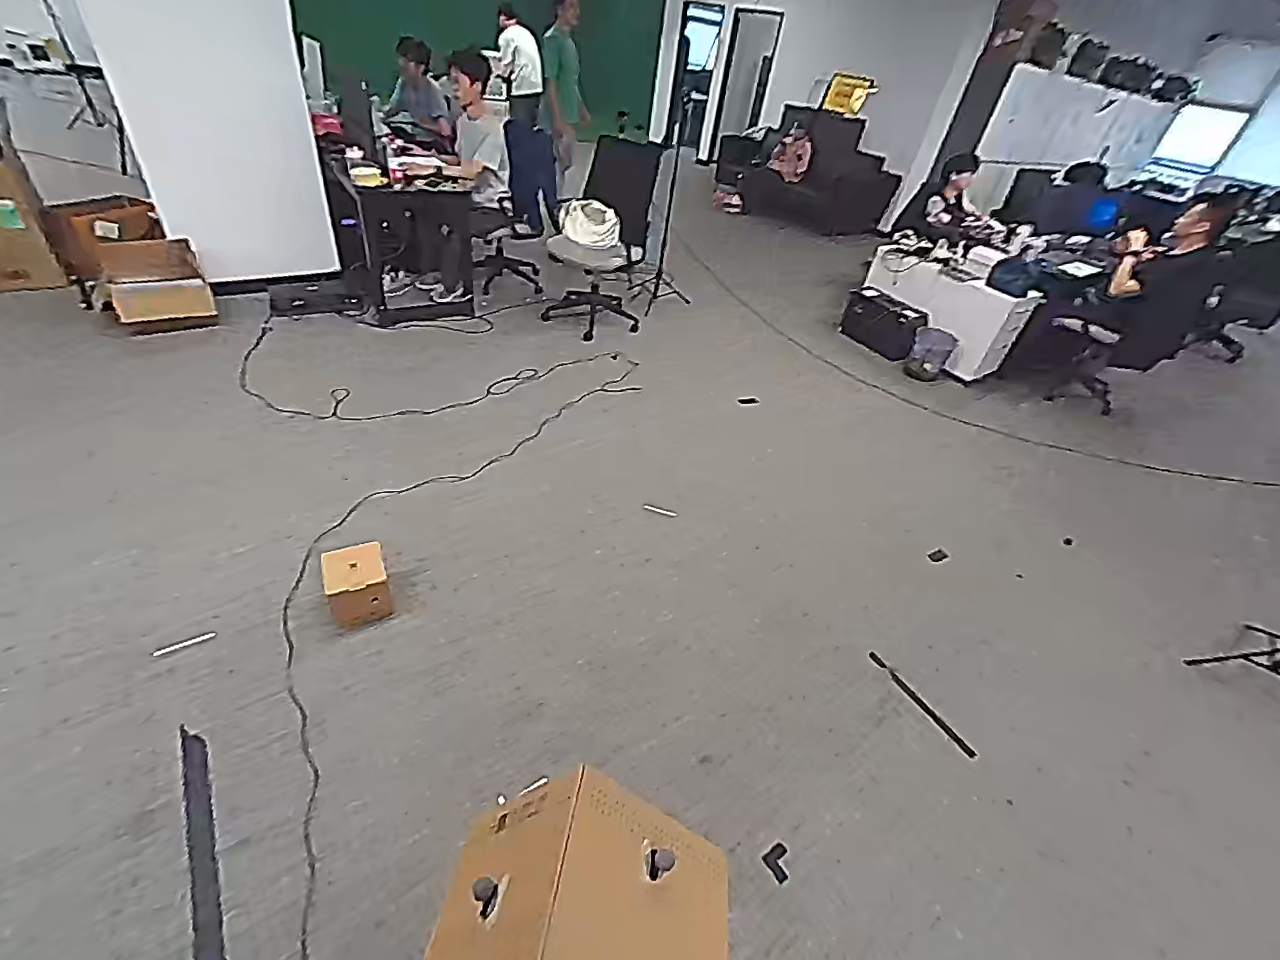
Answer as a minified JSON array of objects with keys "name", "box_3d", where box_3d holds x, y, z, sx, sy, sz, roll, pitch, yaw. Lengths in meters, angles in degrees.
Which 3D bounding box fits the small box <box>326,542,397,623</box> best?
[{"name":"small box","box_3d":[-0.872,0.327,1.700,0.168,0.176,0.179,-12,44,-26]}]

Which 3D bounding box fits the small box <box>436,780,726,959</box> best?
[{"name":"small box","box_3d":[-0.048,0.369,0.430,0.179,0.168,0.176,41,29,-17]}]
